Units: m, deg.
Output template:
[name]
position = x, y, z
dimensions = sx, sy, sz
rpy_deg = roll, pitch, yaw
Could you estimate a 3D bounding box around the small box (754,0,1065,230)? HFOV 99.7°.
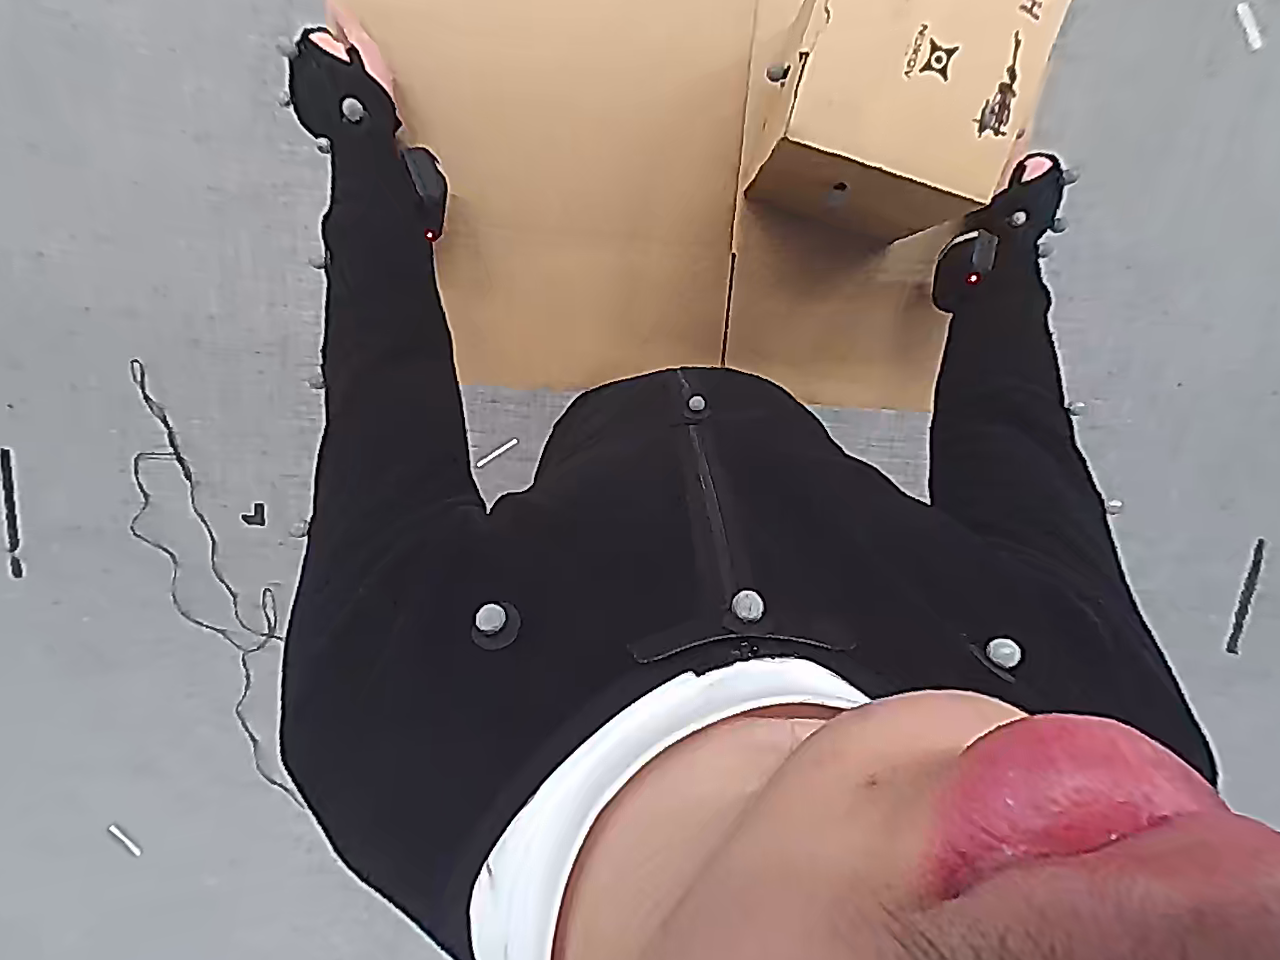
[small box]
position = 0.217, -0.343, 0.485
dimensions = 0.179, 0.176, 0.168
rpy_deg = 16, 104, -3
